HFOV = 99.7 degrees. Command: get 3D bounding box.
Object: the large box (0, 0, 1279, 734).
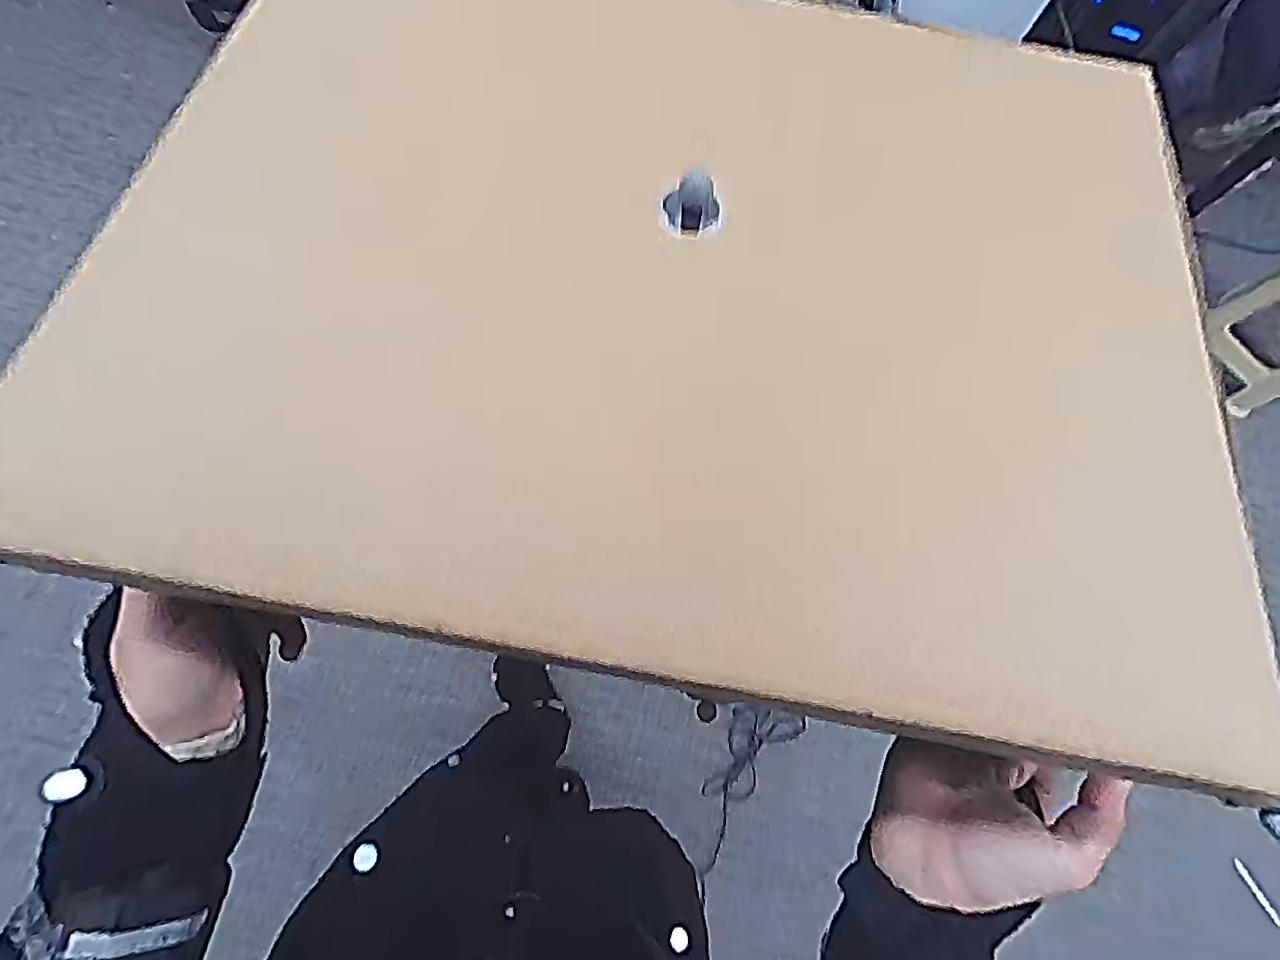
[{"bbox_3d":[0.008,-0.053,0.347,0.408,0.320,0.320,10,72,1],"label":"large box"}]
